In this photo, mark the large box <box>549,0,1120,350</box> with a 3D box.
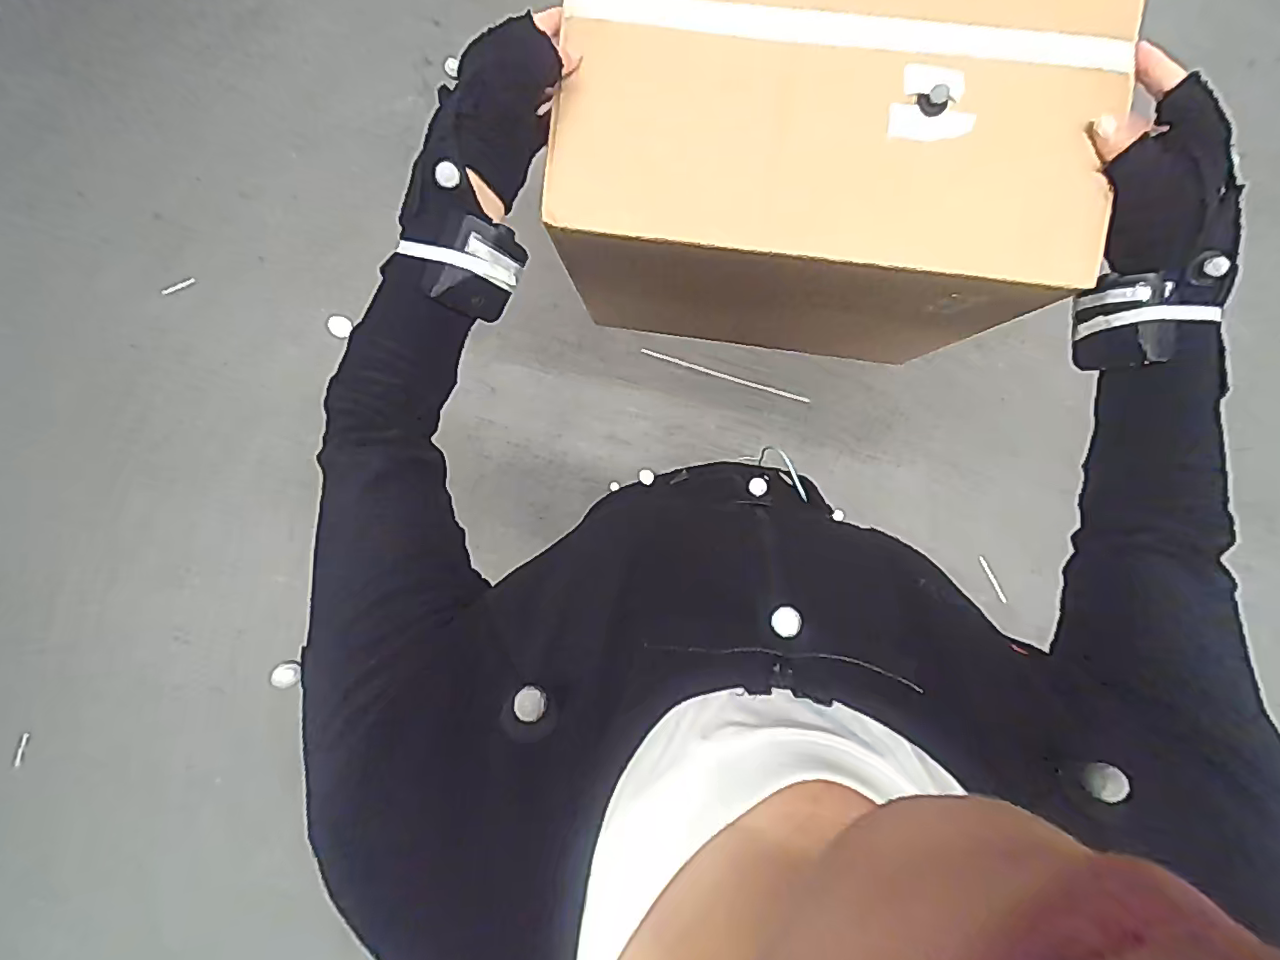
[{"bbox_3d":[0.146,-0.331,0.546,0.408,0.320,0.320,7,93,2],"label":"large box"}]
